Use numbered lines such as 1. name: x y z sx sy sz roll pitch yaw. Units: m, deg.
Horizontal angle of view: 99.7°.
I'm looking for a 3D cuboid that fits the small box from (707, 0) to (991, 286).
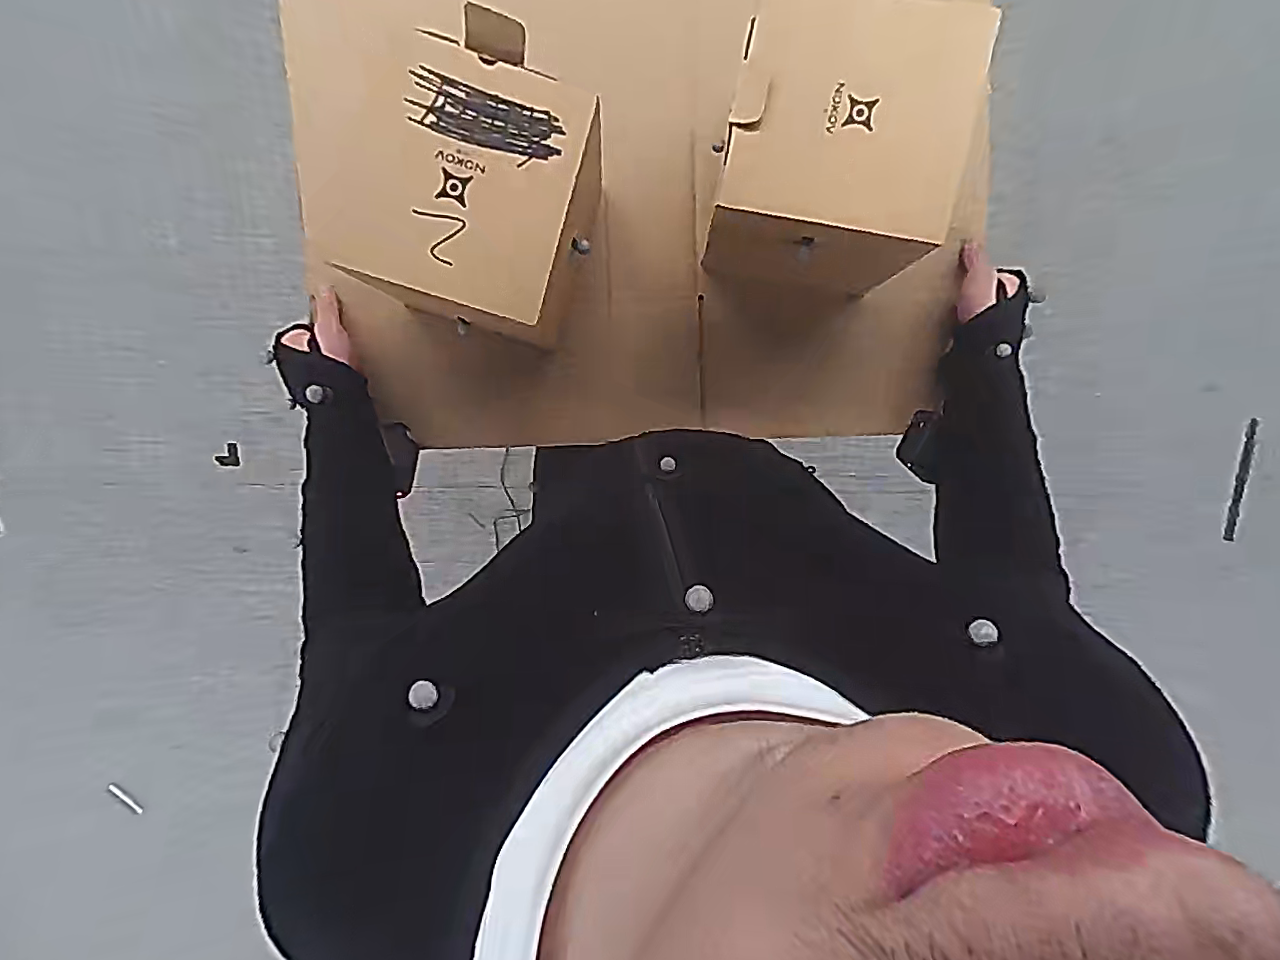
1. small box: 0.164 -0.286 0.488 0.179 0.176 0.168 11 97 3
